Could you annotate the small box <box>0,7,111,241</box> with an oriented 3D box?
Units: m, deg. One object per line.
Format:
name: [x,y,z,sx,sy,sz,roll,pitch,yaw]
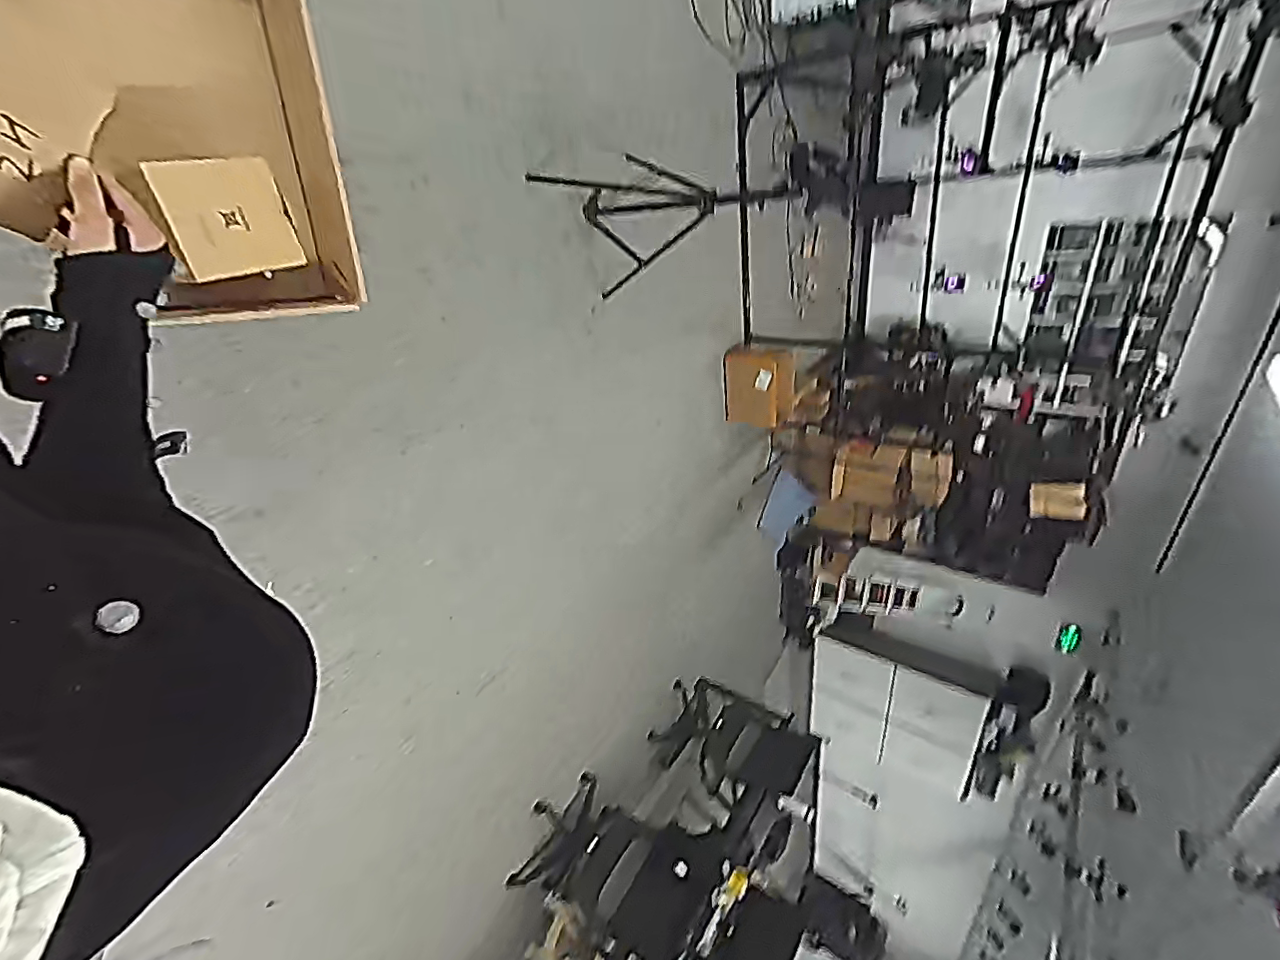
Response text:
small box: [-0.608,-0.327,0.439,0.168,0.176,0.179,-67,157,-1]
